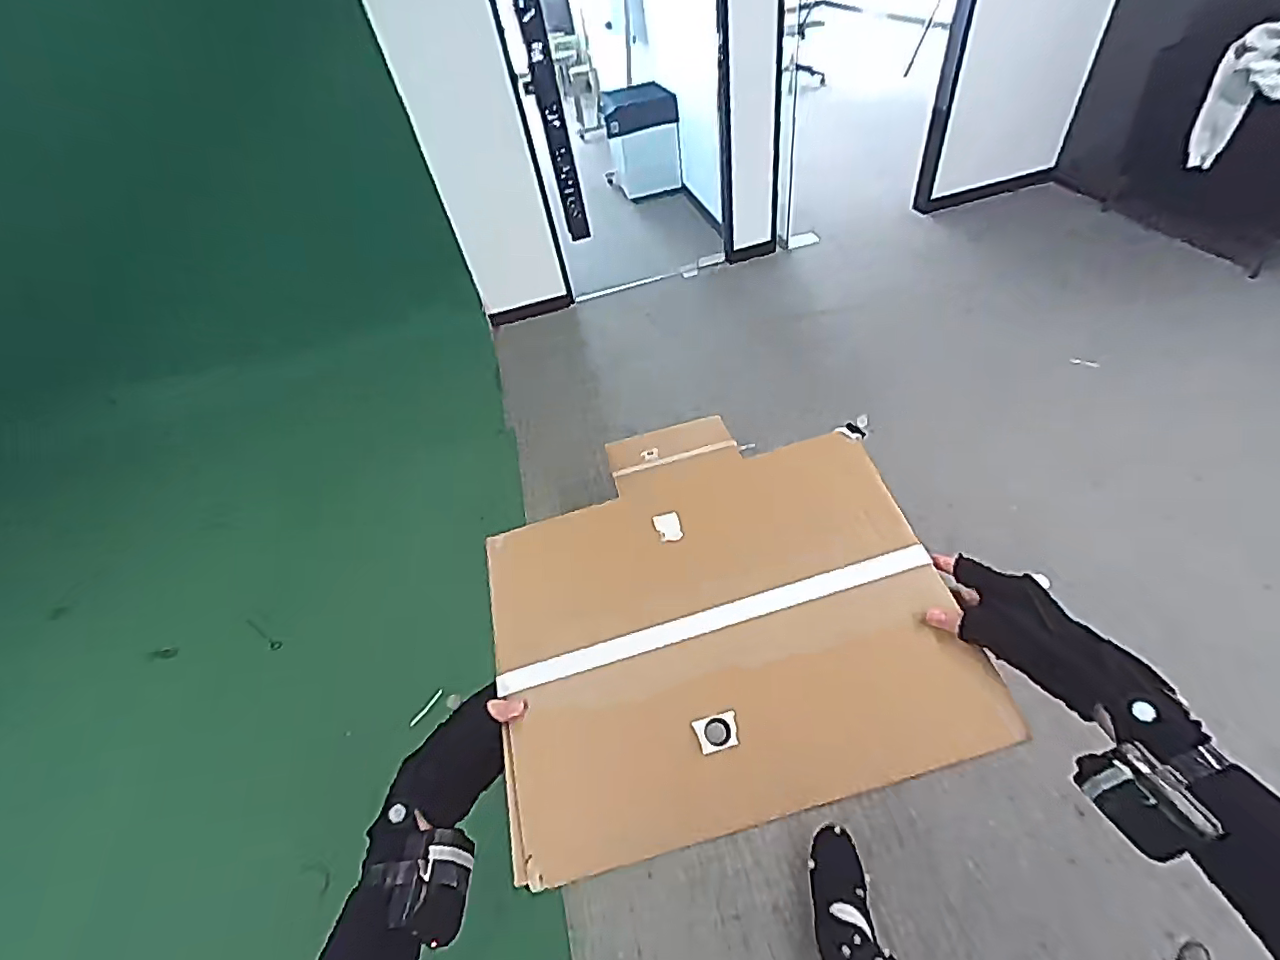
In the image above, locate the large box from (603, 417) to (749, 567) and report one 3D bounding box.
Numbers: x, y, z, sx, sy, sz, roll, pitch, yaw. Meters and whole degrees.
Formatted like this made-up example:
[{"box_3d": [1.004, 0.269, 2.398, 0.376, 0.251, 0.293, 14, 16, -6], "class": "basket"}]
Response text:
[{"box_3d": [0.123, 0.043, 1.817, 0.408, 0.320, 0.320, -15, 46, -2], "class": "large box"}]
